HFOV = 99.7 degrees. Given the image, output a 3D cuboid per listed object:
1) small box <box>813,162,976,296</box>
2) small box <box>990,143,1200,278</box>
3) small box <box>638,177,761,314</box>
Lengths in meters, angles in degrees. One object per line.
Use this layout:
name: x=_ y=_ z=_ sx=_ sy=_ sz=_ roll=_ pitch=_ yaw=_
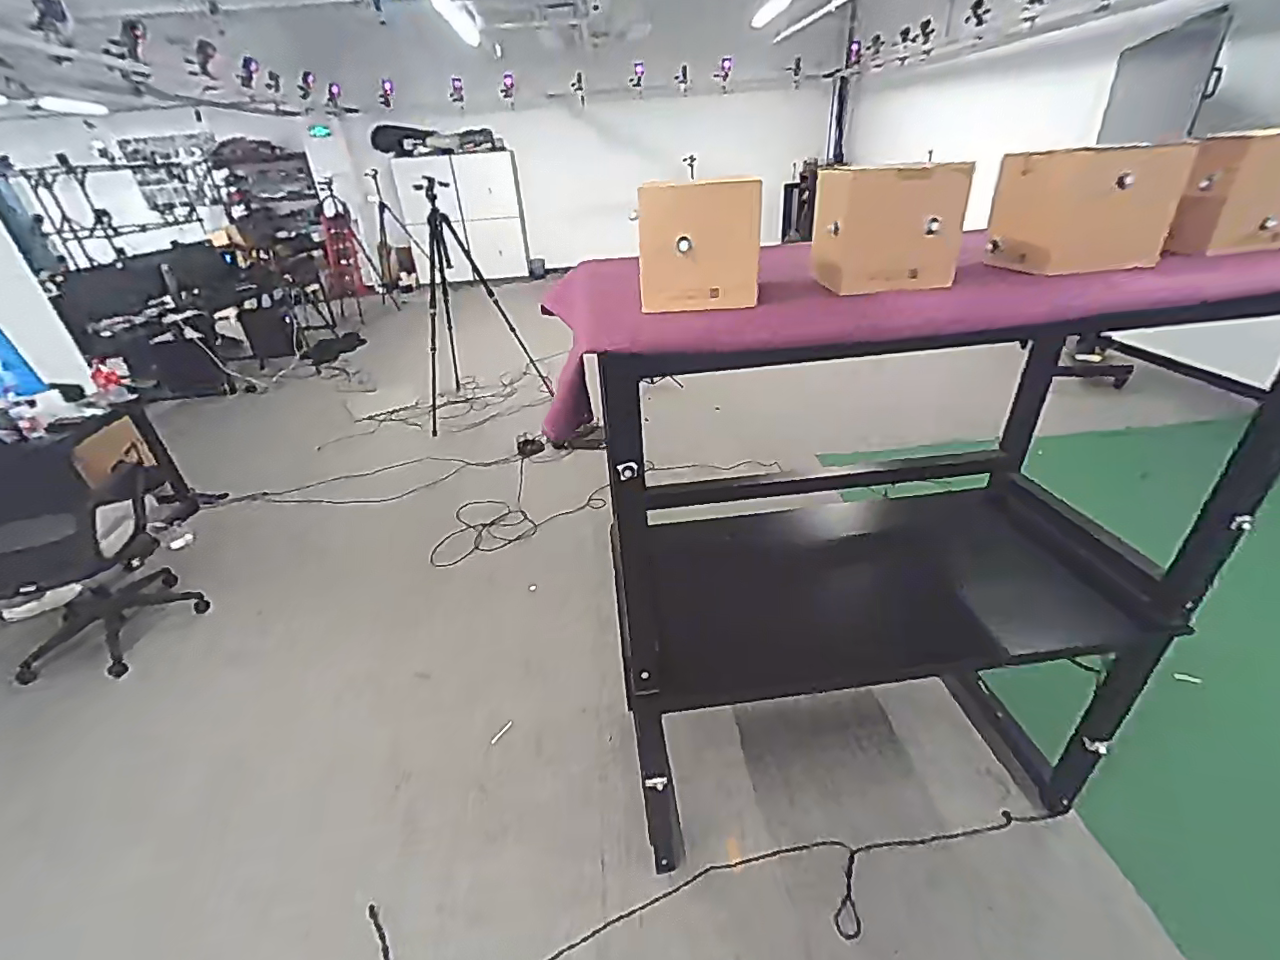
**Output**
small box: x=0.375 y=-0.384 z=0.832 sx=0.168 sy=0.176 sz=0.179 roll=-3 pitch=30 yaw=2
small box: x=0.686 y=-0.418 z=0.846 sx=0.179 sy=0.176 sz=0.168 roll=-6 pitch=30 yaw=-4
small box: x=0.087 y=-0.351 z=0.814 sx=0.168 sy=0.176 sz=0.179 roll=-3 pitch=30 yaw=3
